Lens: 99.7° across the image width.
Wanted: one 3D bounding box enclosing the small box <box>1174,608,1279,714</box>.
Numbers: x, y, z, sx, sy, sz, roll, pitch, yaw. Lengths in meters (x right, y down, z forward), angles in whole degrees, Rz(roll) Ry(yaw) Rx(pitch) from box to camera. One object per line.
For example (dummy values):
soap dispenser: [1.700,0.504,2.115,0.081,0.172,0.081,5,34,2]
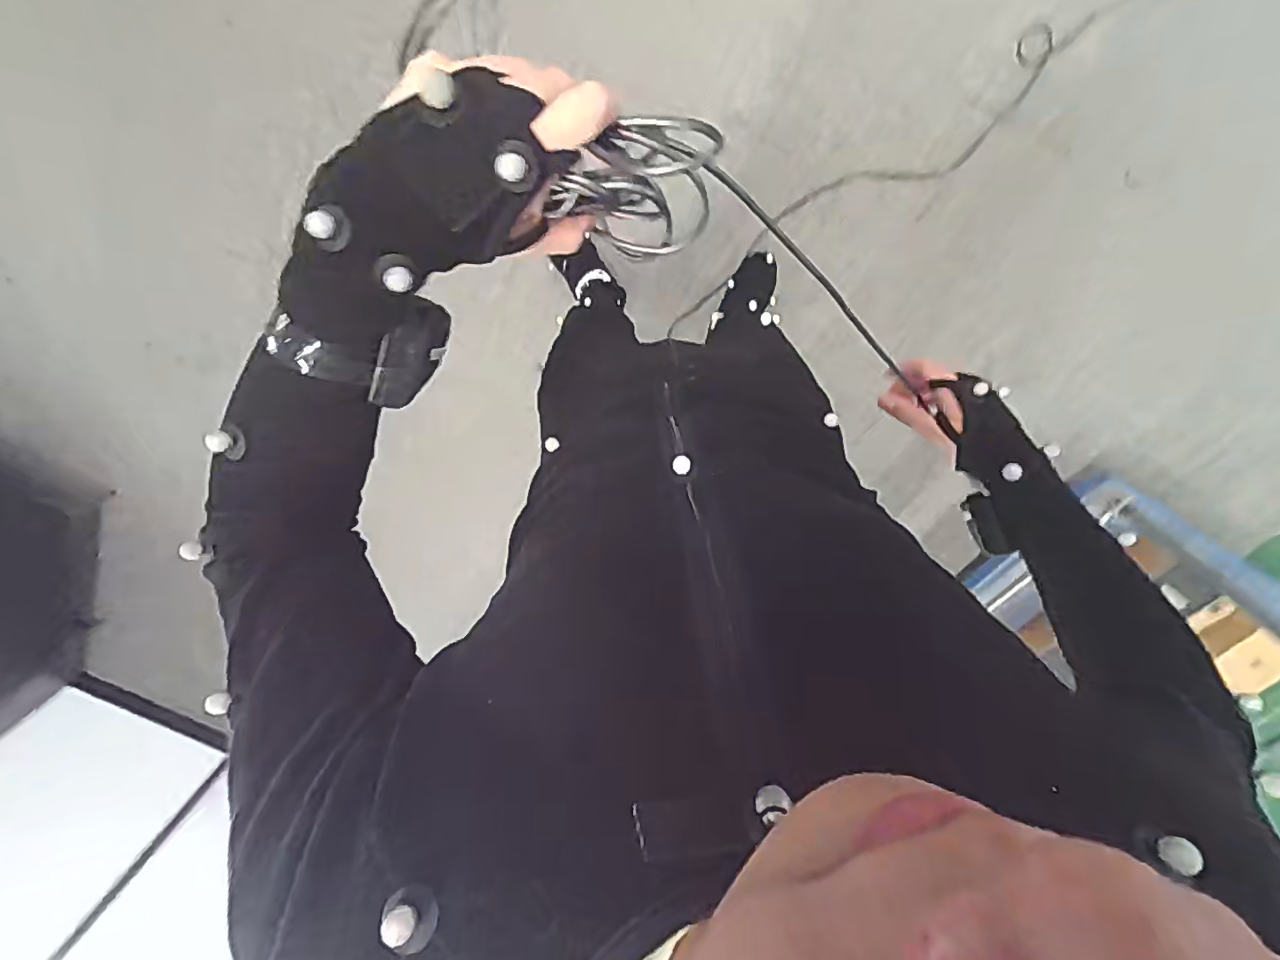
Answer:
small box: [1.581,0.463,1.413,0.179,0.176,0.168,28,118,-5]
